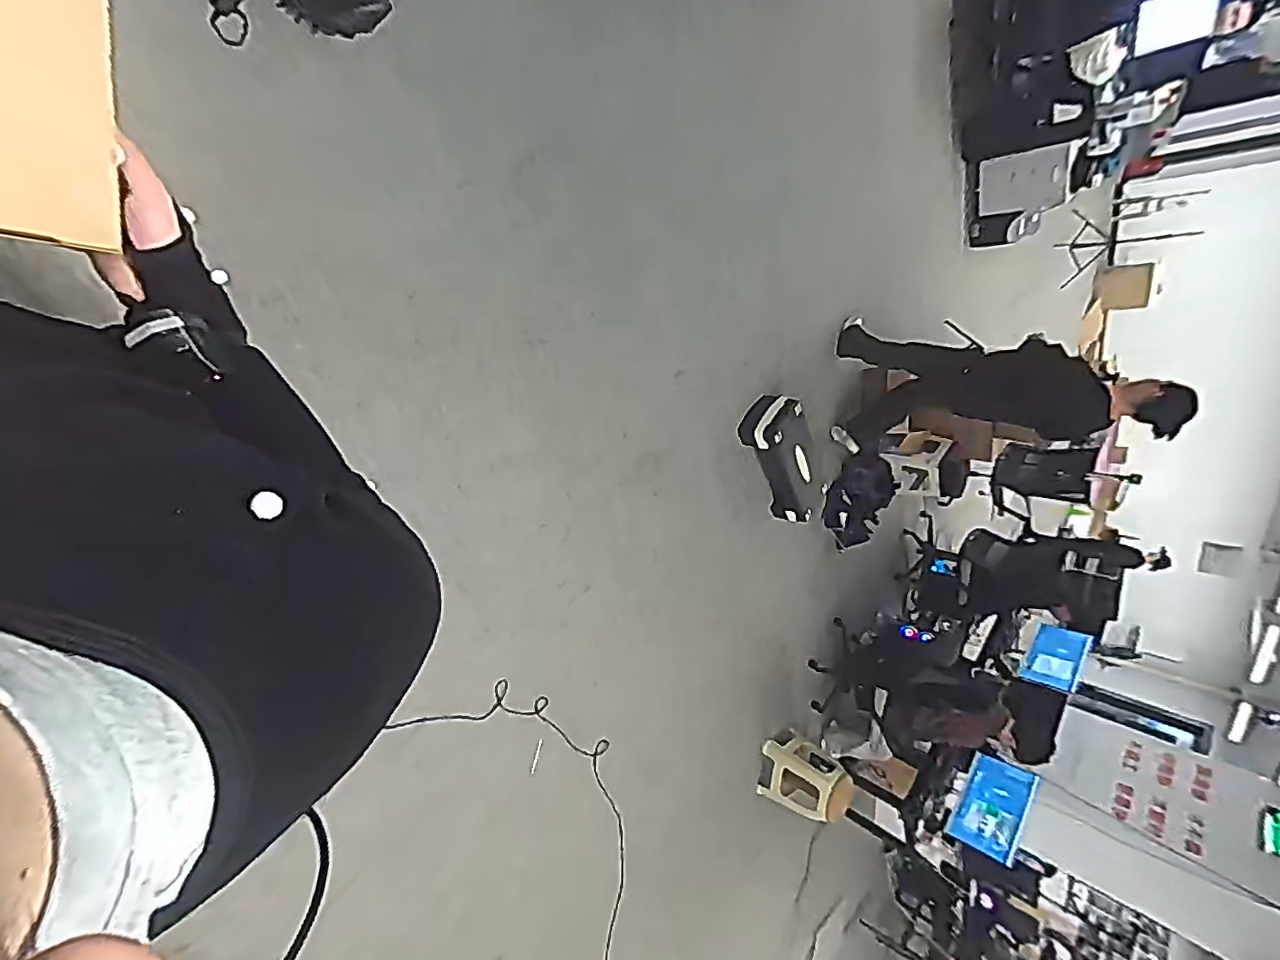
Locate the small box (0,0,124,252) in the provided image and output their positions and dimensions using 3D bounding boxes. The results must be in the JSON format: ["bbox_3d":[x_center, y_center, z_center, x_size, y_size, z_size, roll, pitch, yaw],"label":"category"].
[{"bbox_3d":[-0.438,-0.250,0.324,0.168,0.176,0.179,-8,112,-51],"label":"small box"}]
